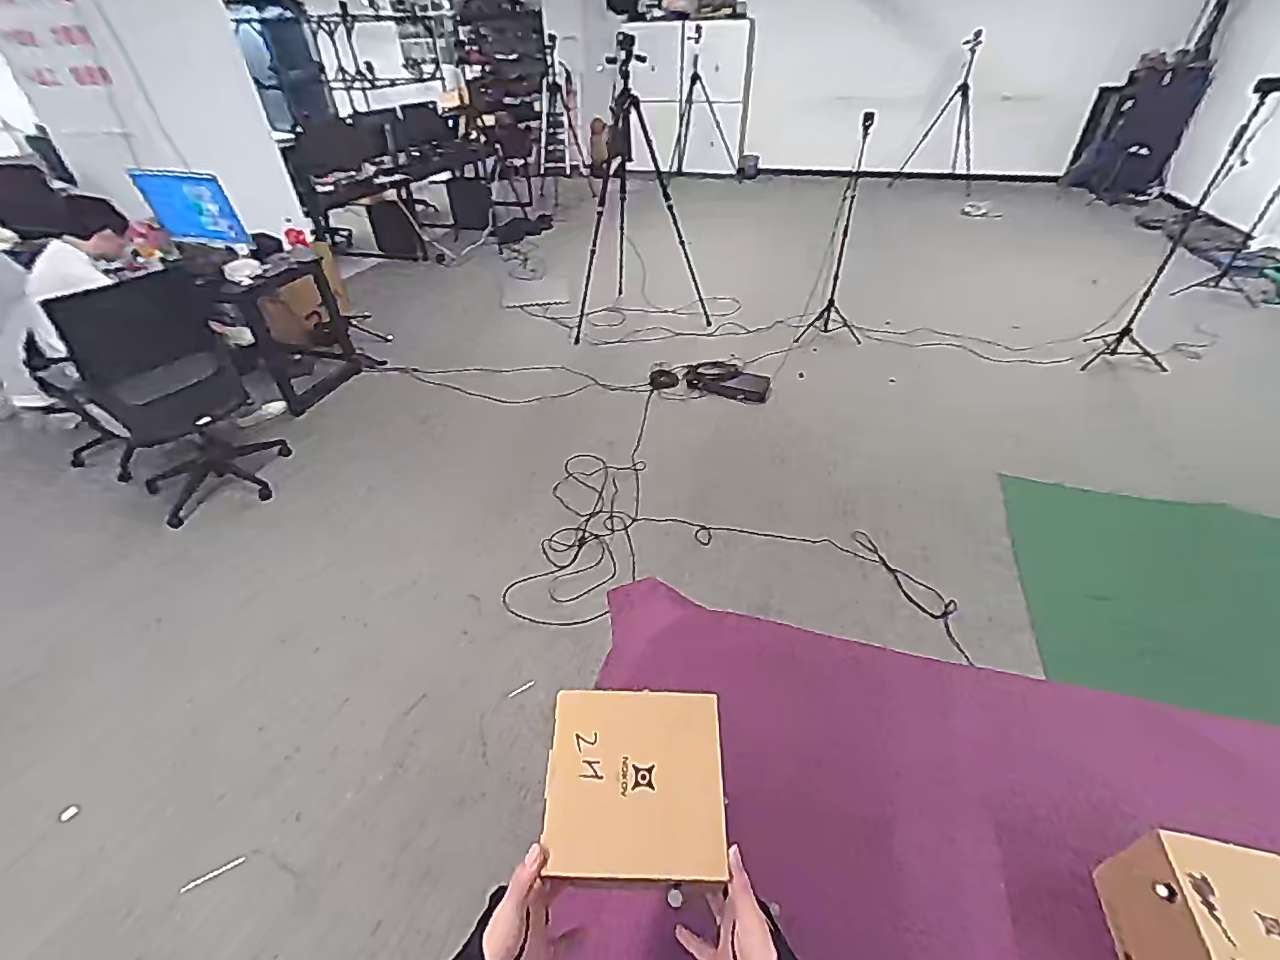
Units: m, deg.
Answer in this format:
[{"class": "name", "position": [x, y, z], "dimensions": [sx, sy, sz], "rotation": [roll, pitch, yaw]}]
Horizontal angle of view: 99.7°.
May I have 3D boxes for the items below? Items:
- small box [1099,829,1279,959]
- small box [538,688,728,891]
[{"class": "small box", "position": [0.710, 0.557, 0.643], "dimensions": [0.179, 0.176, 0.168], "rotation": [9, 40, 13]}, {"class": "small box", "position": [-0.004, 0.345, 0.600], "dimensions": [0.179, 0.176, 0.168], "rotation": [1, 49, 2]}]
